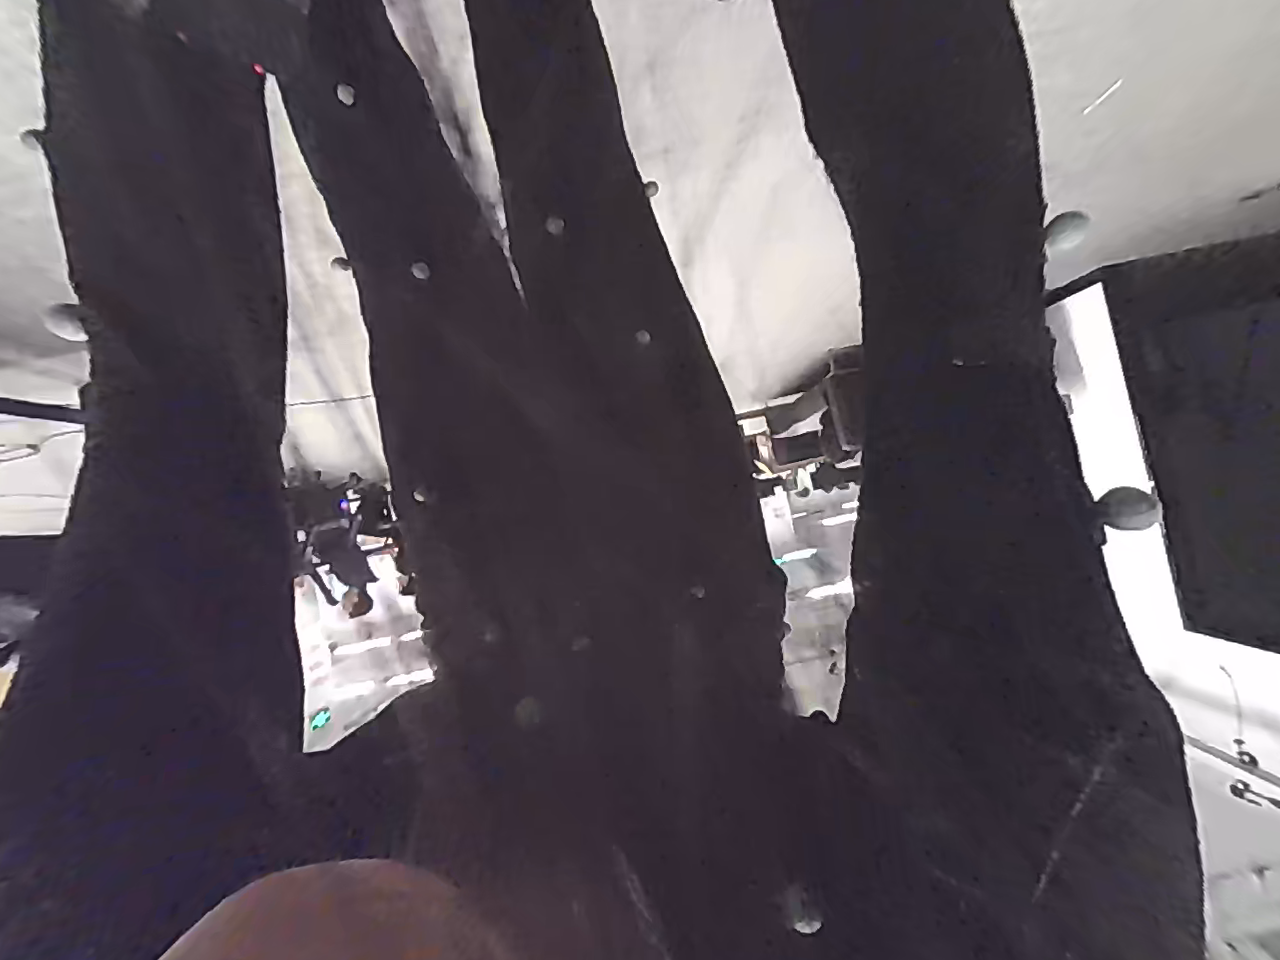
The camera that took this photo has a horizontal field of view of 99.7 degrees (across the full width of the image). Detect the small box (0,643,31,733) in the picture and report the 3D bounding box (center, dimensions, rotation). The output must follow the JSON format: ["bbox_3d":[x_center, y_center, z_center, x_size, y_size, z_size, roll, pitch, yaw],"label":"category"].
[{"bbox_3d":[-1.297,0.409,0.987,0.179,0.176,0.168,-12,179,-3],"label":"small box"}]
